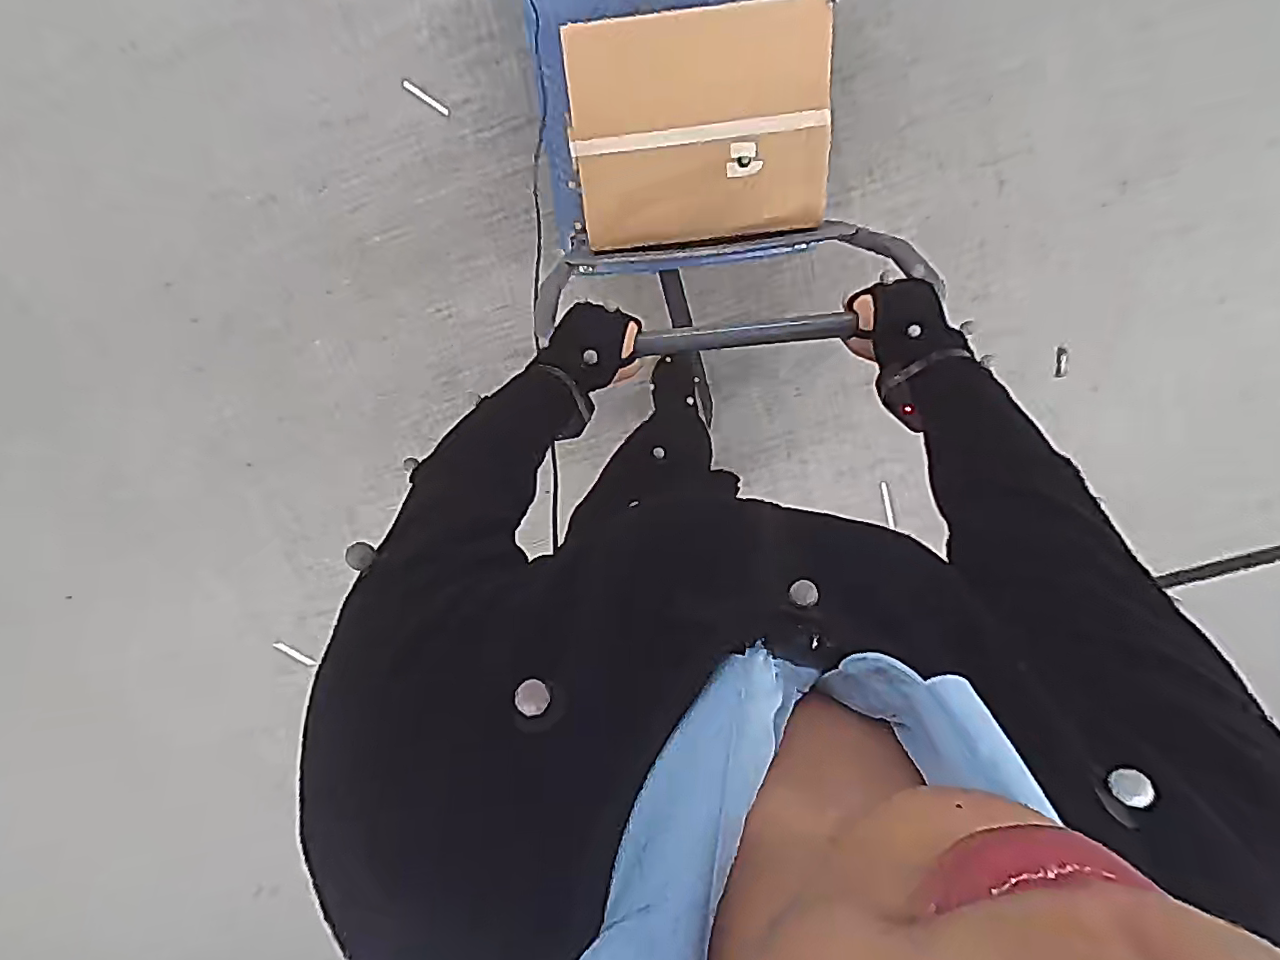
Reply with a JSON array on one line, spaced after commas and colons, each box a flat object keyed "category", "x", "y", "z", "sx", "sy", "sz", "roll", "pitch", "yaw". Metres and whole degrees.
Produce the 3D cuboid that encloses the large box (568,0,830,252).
[{"category": "large box", "x": 0.101, "y": -0.624, "z": 1.009, "sx": 0.408, "sy": 0.320, "sz": 0.320, "roll": -6, "pitch": 116, "yaw": 2}]
